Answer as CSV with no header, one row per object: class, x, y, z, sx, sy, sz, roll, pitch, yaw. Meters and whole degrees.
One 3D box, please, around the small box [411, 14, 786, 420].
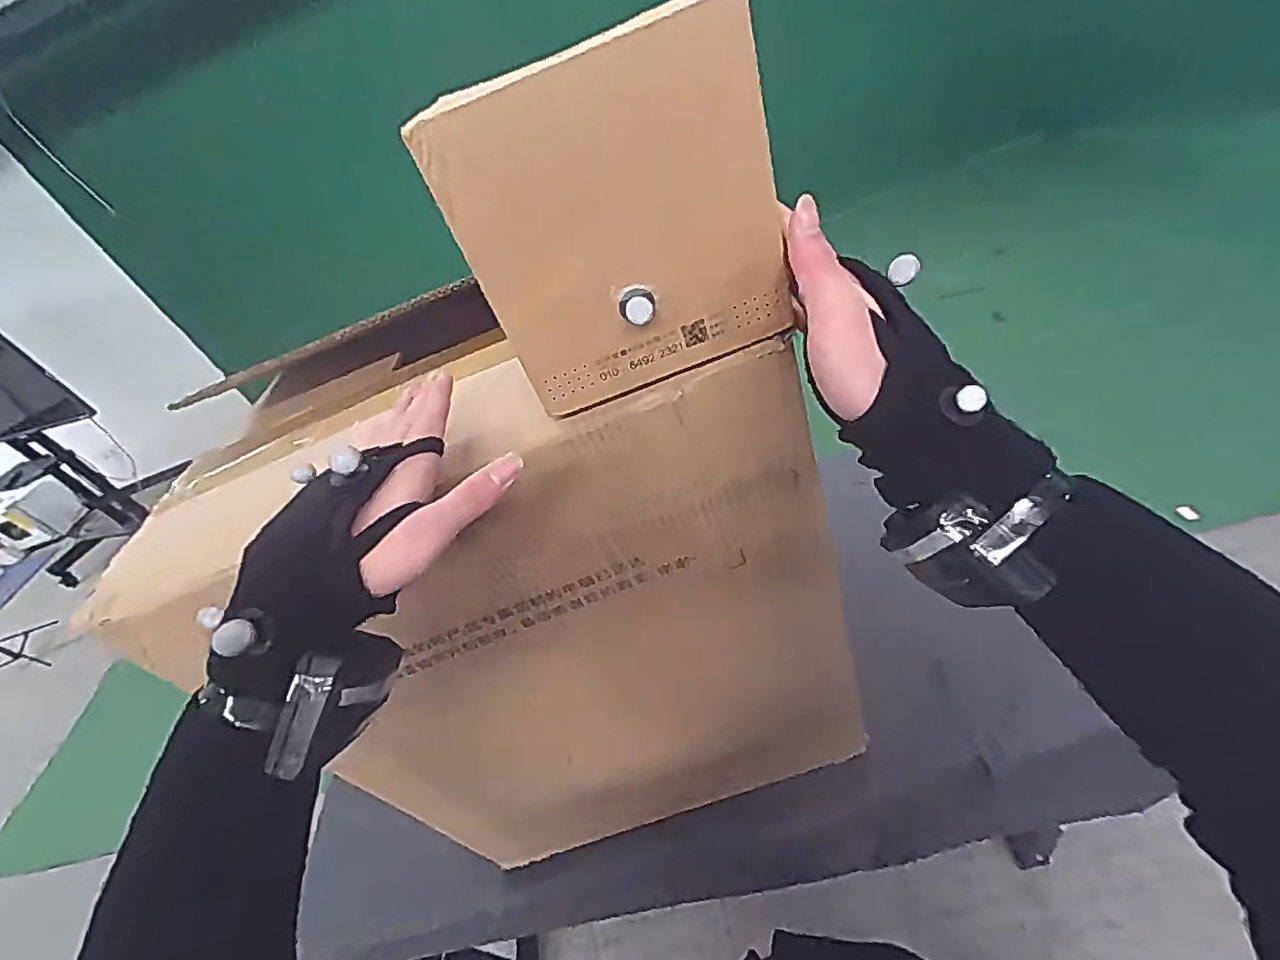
small box,-0.018,-0.168,0.357,0.168,0.176,0.179,-20,40,4
